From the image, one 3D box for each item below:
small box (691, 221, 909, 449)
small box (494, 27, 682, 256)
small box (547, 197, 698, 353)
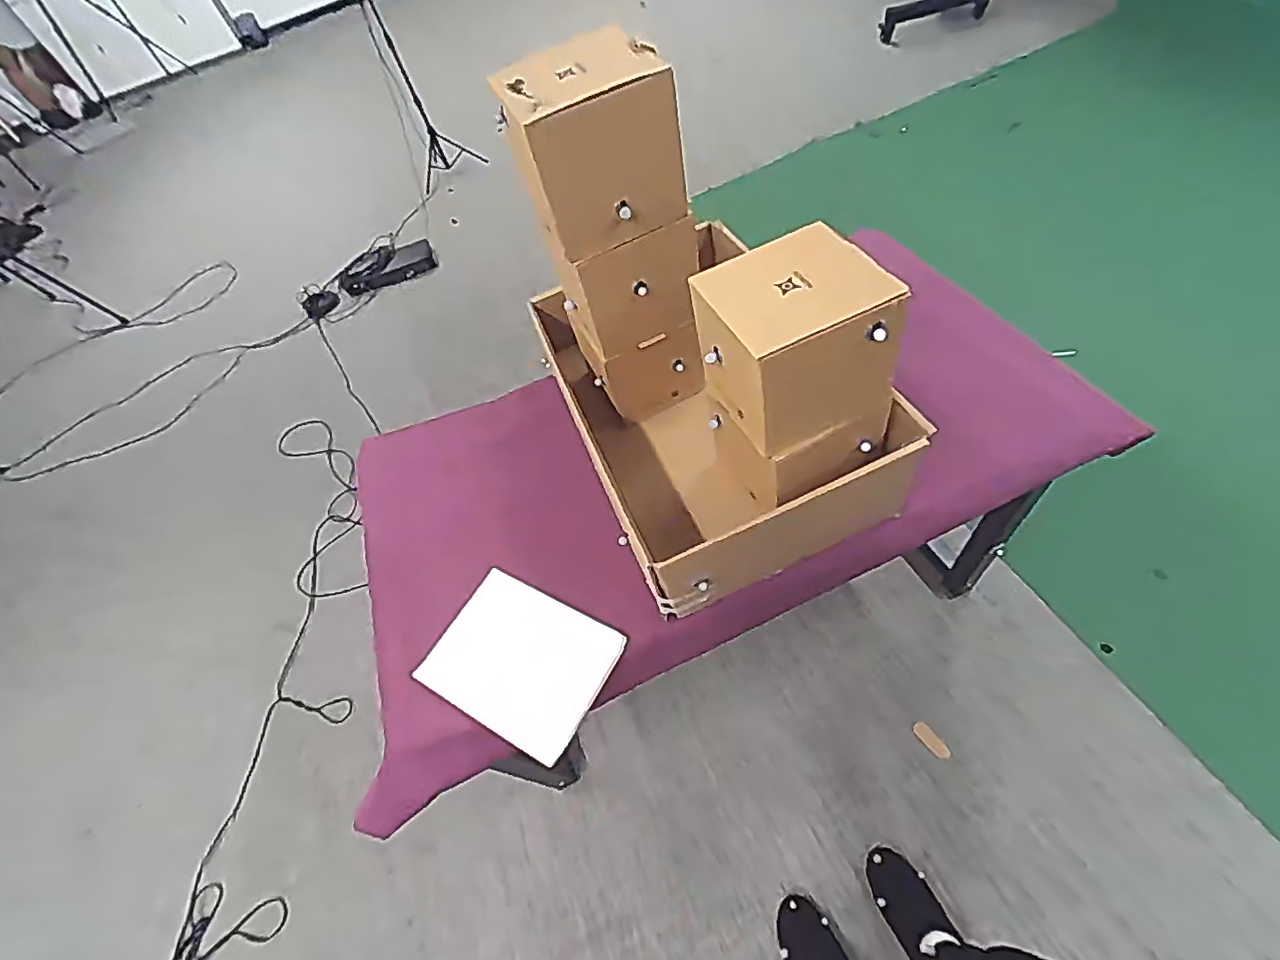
[{"bbox_3d":[0.181,-0.166,0.643,0.179,0.176,0.168,-24,53,-4],"label":"small box"},{"bbox_3d":[-0.056,-0.417,0.675,0.179,0.176,0.168,-24,55,-5],"label":"small box"},{"bbox_3d":[-0.022,-0.325,0.807,0.179,0.176,0.168,-27,55,-6],"label":"small box"}]
